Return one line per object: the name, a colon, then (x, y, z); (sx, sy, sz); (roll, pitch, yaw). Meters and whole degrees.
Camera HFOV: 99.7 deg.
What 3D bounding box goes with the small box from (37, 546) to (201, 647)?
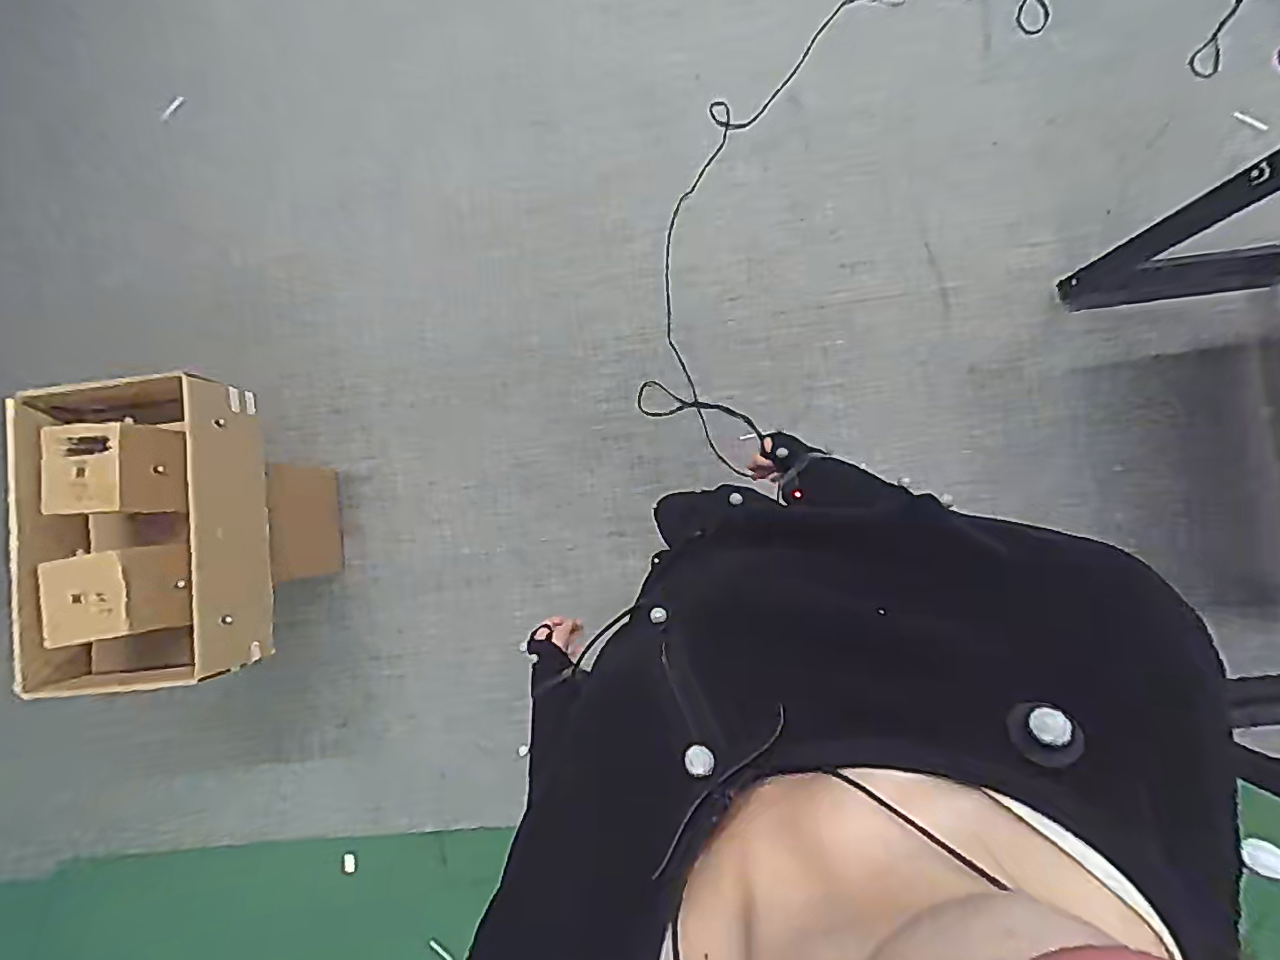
small box: (-1.048, 0.230, 1.098); (0.179, 0.176, 0.168); (-10, 85, 3)
